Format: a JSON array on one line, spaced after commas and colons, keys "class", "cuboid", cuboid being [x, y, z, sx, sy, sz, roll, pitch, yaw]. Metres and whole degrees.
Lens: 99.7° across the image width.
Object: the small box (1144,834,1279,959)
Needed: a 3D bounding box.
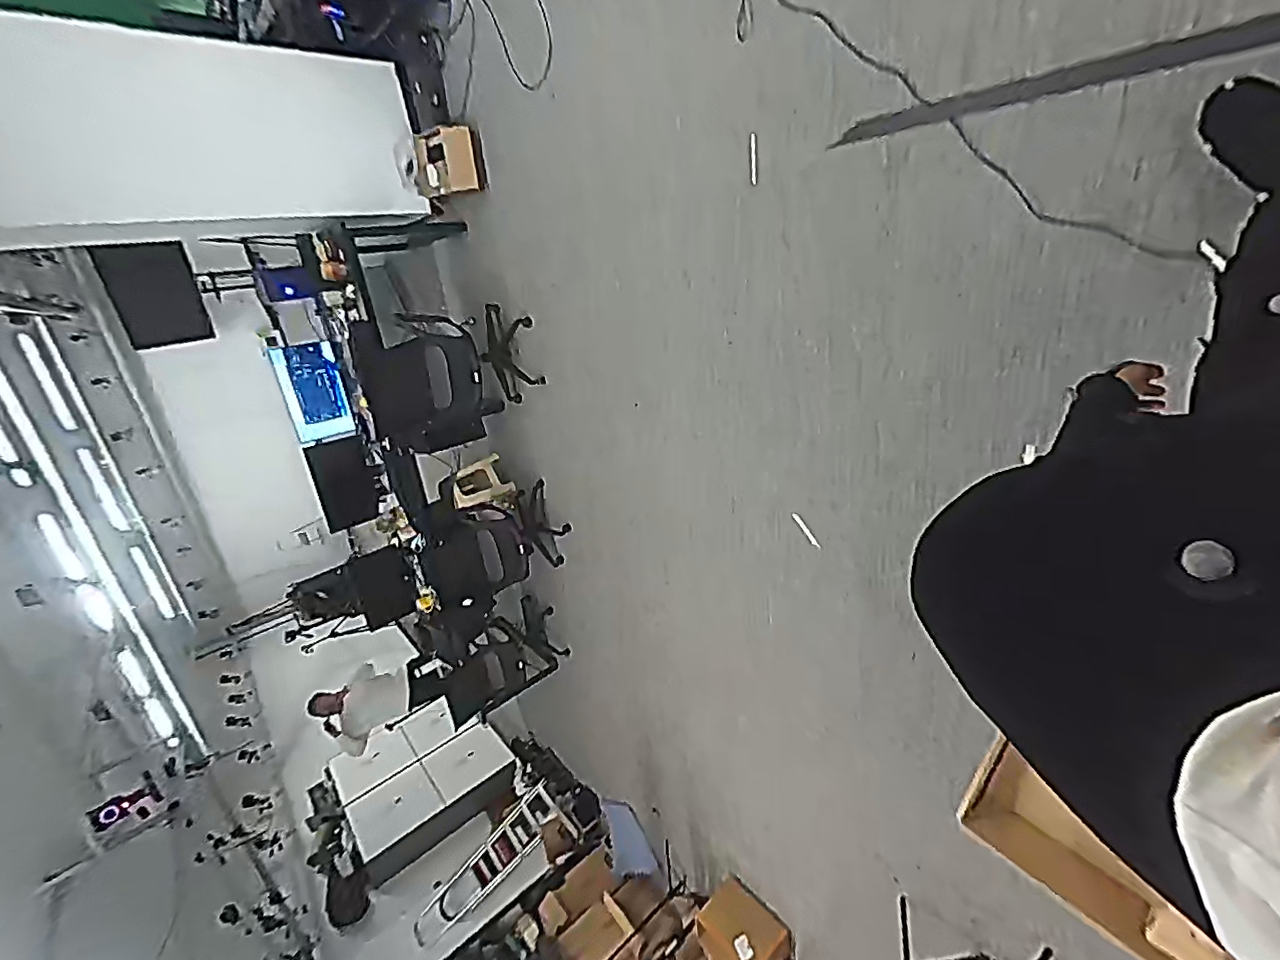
[{"class": "small box", "cuboid": [1.101, 0.820, 1.008, 0.179, 0.176, 0.168, 26, 129, 44]}]
